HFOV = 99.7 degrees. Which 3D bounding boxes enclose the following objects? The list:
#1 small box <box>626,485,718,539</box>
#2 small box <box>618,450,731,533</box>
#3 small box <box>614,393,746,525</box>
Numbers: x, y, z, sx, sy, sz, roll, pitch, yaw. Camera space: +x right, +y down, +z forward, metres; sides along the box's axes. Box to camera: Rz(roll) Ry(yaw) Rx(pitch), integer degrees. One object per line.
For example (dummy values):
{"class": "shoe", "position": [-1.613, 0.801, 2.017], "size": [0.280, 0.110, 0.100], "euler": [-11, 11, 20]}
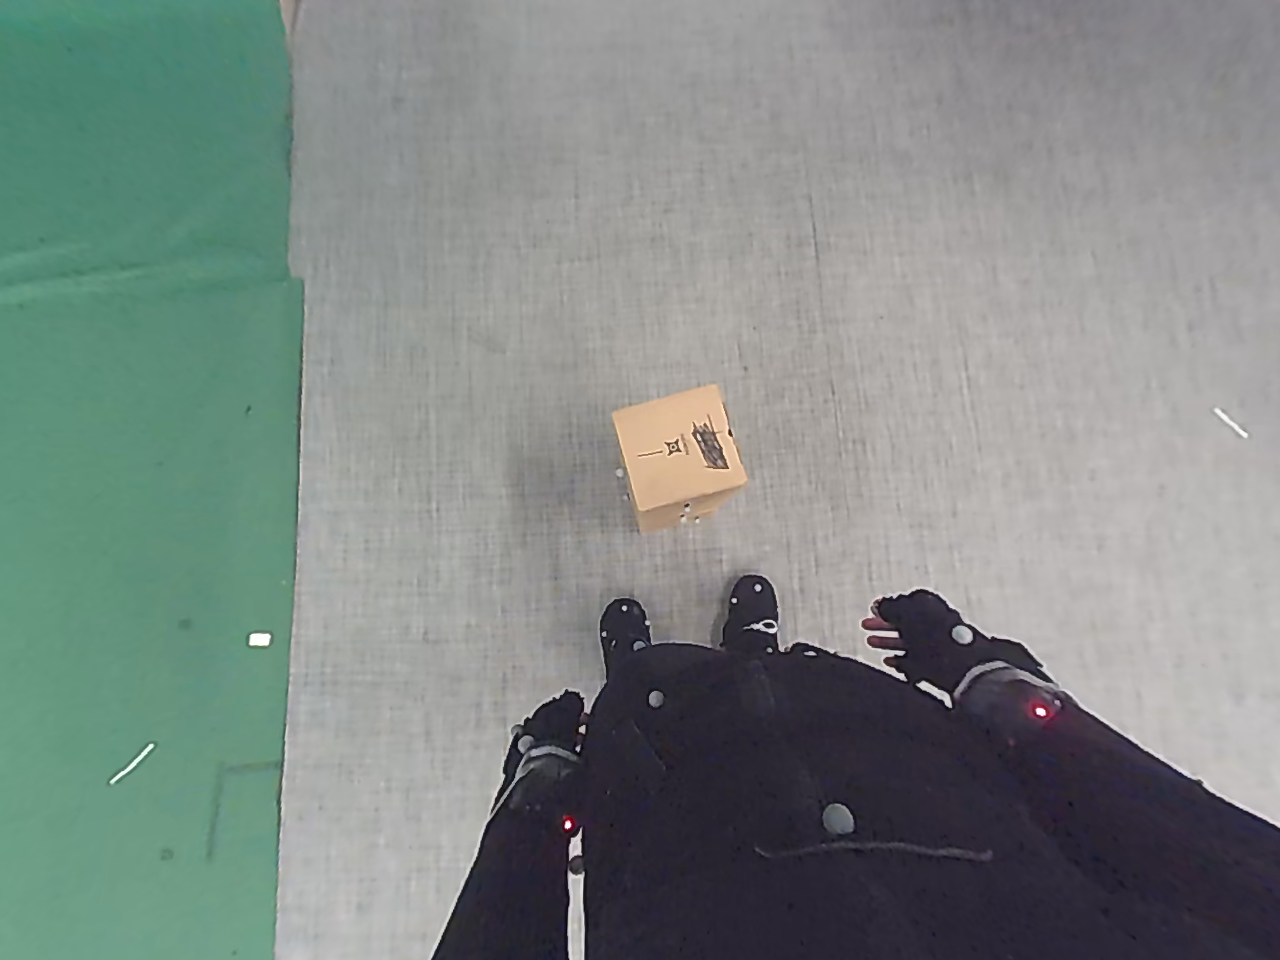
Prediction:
{"class": "small box", "position": [0.065, 0.031, 1.238], "size": [0.179, 0.176, 0.168], "euler": [-16, 80, 0]}
{"class": "small box", "position": [0.064, 0.002, 1.079], "size": [0.179, 0.176, 0.168], "euler": [-18, 82, -1]}
{"class": "small box", "position": [0.062, -0.027, 0.915], "size": [0.179, 0.176, 0.168], "euler": [-15, 80, -1]}
